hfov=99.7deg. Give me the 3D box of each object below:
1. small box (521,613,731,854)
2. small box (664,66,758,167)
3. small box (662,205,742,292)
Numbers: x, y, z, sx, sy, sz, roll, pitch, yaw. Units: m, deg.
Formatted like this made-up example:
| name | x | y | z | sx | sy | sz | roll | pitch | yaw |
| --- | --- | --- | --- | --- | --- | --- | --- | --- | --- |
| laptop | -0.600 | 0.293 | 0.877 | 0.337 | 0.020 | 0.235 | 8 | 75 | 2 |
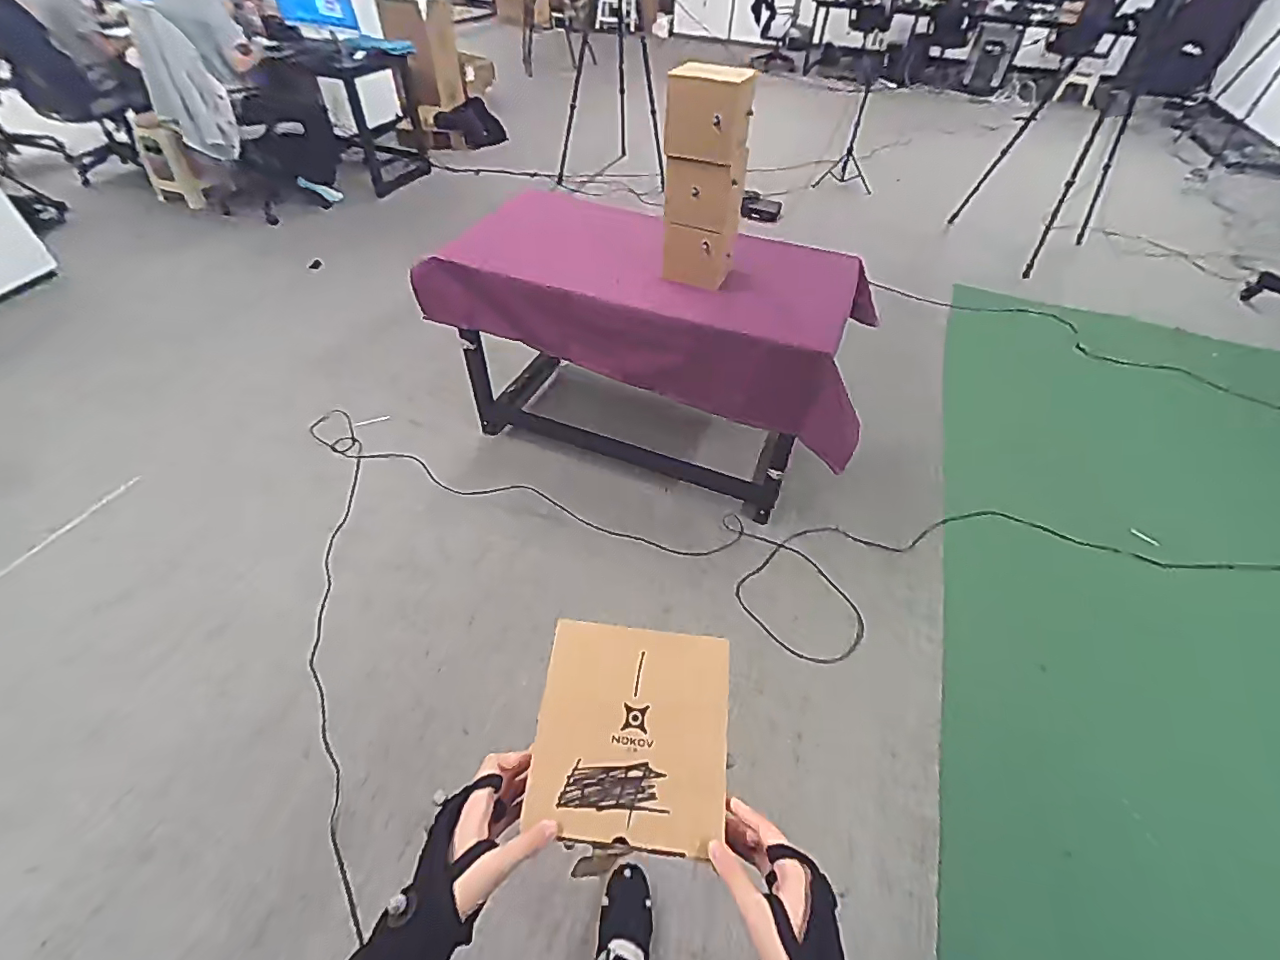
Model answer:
| name | x | y | z | sx | sy | sz | roll | pitch | yaw |
| --- | --- | --- | --- | --- | --- | --- | --- | --- | --- |
| small box | -0.008 | 0.252 | 0.539 | 0.168 | 0.176 | 0.179 | 7 | 58 | 1 |
| small box | 0.171 | -0.889 | 1.325 | 0.179 | 0.176 | 0.168 | 19 | 48 | 15 |
| small box | 0.177 | -0.669 | 1.569 | 0.179 | 0.176 | 0.168 | 19 | 49 | 14 |
